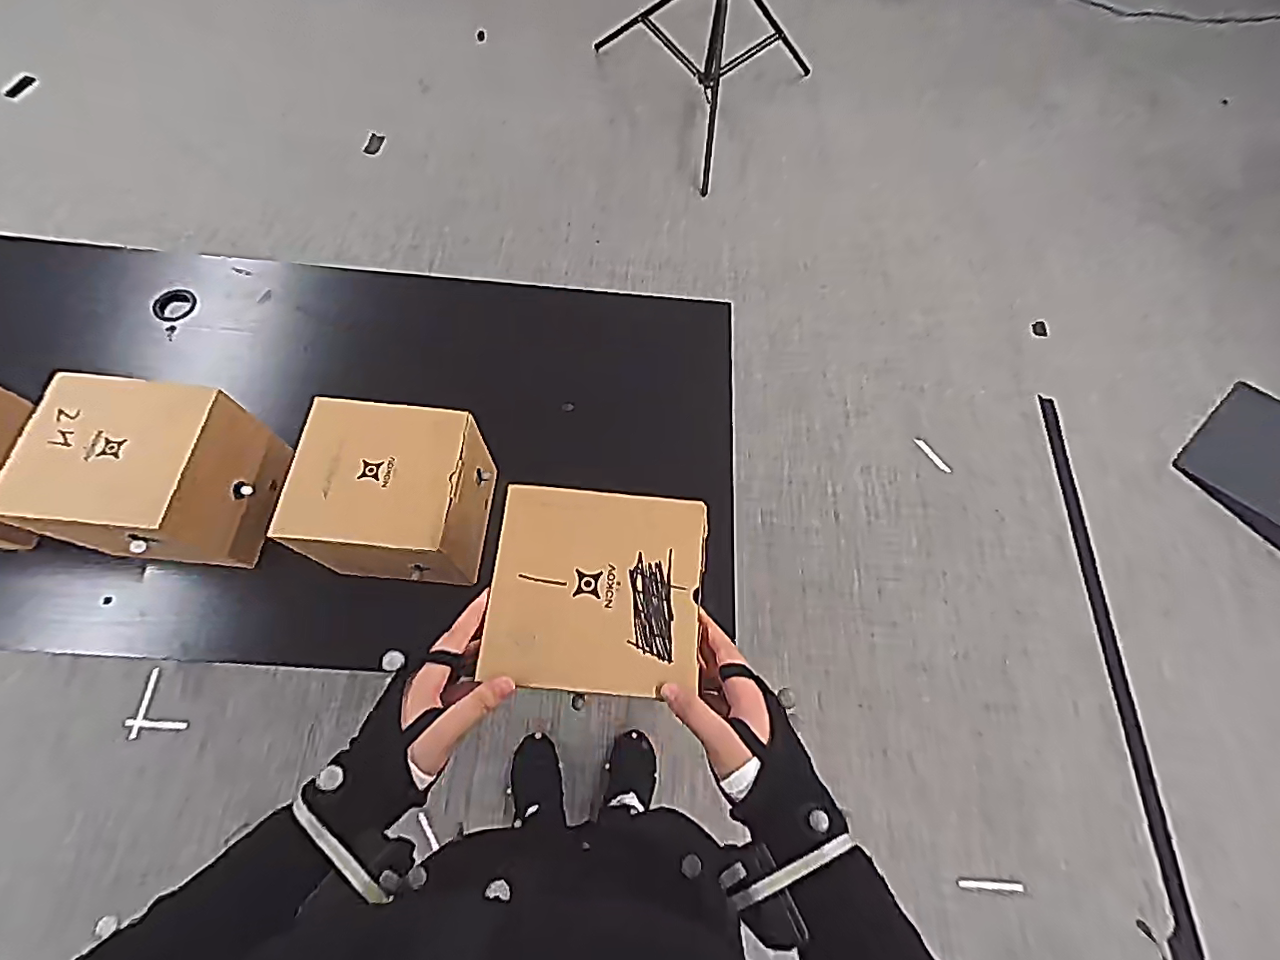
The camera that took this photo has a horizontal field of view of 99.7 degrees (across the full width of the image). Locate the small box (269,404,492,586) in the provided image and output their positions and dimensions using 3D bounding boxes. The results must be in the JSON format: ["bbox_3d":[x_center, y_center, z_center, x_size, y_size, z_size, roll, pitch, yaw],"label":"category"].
[{"bbox_3d":[-0.288,0.027,0.651,0.179,0.176,0.168,4,66,-2],"label":"small box"}]

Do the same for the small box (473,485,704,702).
[{"bbox_3d":[-0.041,0.116,0.524,0.179,0.176,0.168,6,69,-1],"label":"small box"}]

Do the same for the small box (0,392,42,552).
[{"bbox_3d":[-0.833,-0.018,0.627,0.179,0.176,0.168,2,68,-3],"label":"small box"}]

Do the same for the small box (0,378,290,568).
[{"bbox_3d":[-0.560,0.002,0.638,0.179,0.176,0.168,5,67,-2],"label":"small box"}]
